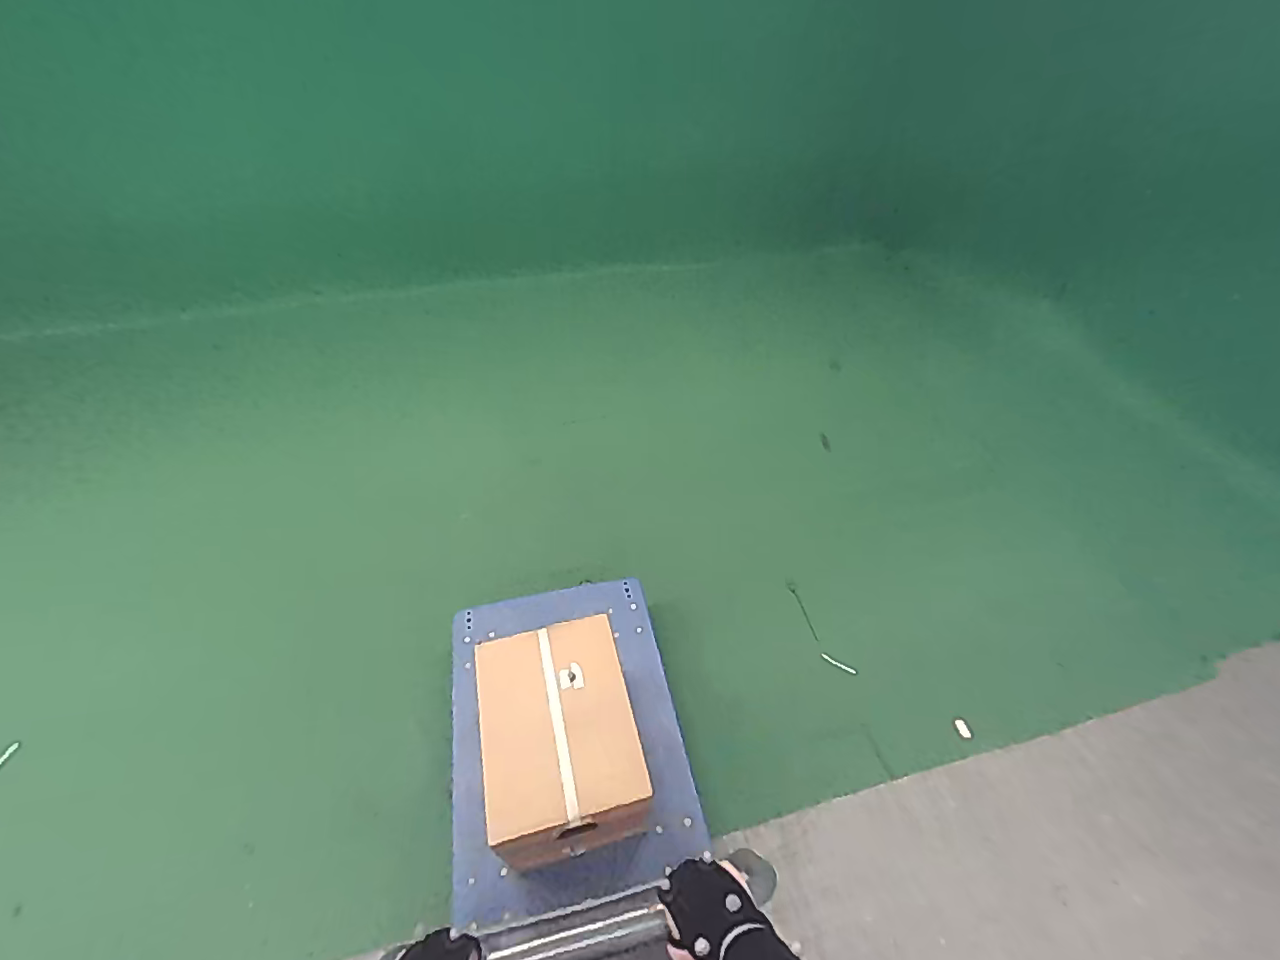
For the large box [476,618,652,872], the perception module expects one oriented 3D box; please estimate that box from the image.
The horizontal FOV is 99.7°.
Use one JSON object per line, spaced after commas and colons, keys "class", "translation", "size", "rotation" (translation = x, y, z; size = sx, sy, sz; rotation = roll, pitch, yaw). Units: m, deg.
{"class": "large box", "translation": [-0.175, 0.602, 1.246], "size": [0.320, 0.320, 0.408], "rotation": [-11, 48, -11]}
